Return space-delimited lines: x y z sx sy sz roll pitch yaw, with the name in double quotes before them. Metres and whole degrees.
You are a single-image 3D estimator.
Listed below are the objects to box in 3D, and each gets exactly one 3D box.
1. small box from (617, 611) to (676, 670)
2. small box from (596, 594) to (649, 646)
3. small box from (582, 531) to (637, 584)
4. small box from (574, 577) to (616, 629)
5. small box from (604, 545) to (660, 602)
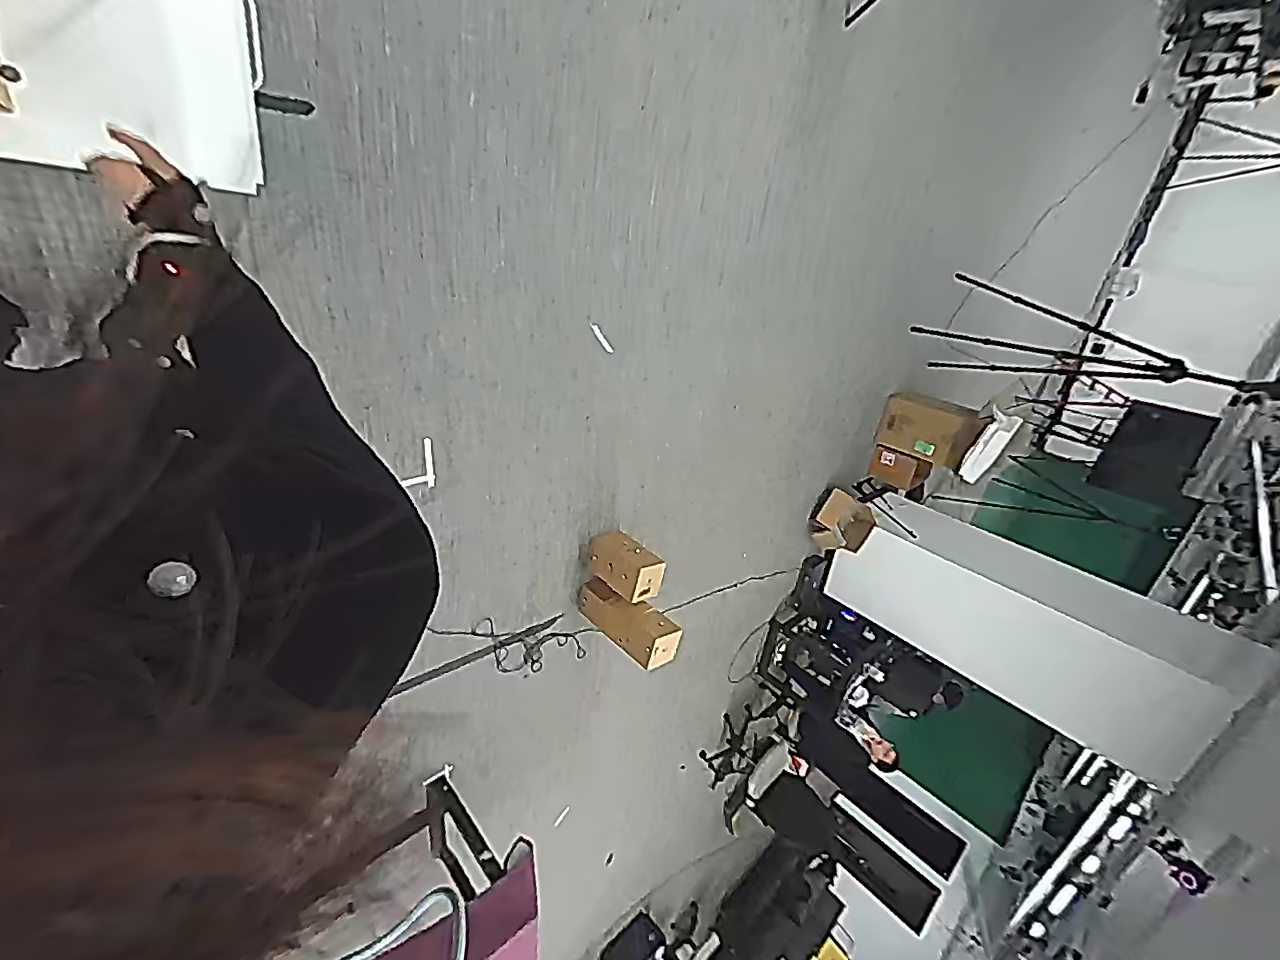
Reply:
"small box" 0.028 0.701 2.392 0.179 0.176 0.168 -5 116 -47
"small box" -0.084 0.640 2.496 0.168 0.176 0.179 -13 122 -43
"small box" -0.144 0.352 2.511 0.179 0.176 0.168 -9 119 -44
"small box" -0.195 0.578 2.597 0.179 0.176 0.168 -15 122 -42
"small box" -0.040 0.412 2.396 0.168 0.176 0.179 -5 115 -46
